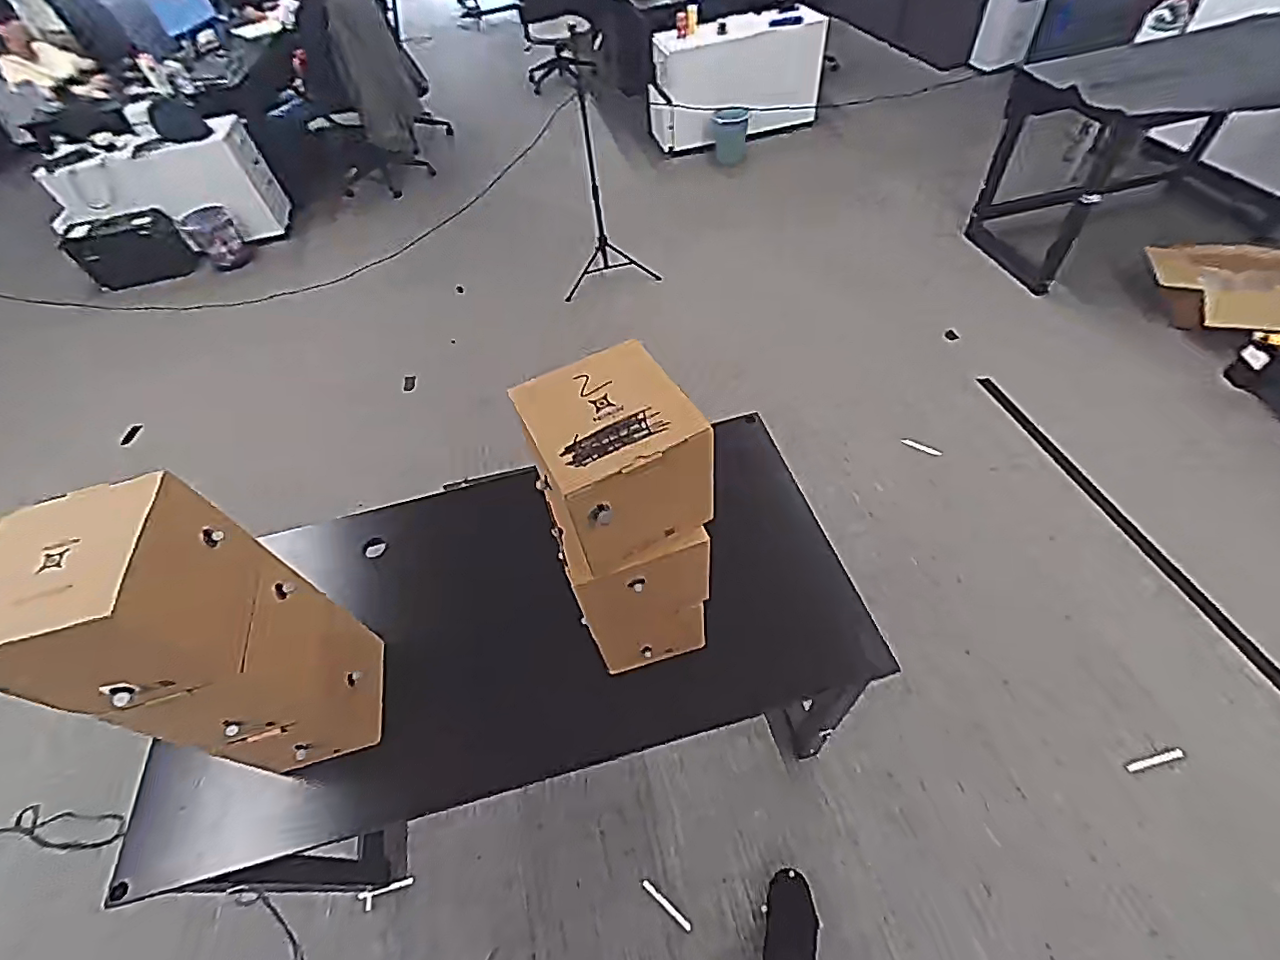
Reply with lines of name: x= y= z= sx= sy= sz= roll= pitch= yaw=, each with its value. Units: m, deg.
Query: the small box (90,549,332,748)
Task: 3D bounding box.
small box: x=-0.531 y=0.222 z=0.705 sx=0.168 sy=0.176 sz=0.179 roll=-16 pitch=52 yaw=-4

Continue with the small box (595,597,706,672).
small box: x=0.001 y=0.184 z=0.880 sx=0.168 sy=0.176 sz=0.179 roll=-15 pitch=52 yaw=-5

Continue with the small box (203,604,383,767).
small box: x=-0.515 y=0.324 z=0.834 sx=0.168 sy=0.176 sz=0.179 roll=-16 pitch=53 yaw=-6

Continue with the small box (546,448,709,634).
small box: x=-0.013 y=0.089 z=0.747 sx=0.179 sy=0.176 sz=0.168 roll=-18 pitch=53 yaw=-8

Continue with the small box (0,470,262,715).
small box: x=-0.546 y=0.122 z=0.577 sx=0.168 sy=0.176 sz=0.179 roll=-16 pitch=53 yaw=-4
